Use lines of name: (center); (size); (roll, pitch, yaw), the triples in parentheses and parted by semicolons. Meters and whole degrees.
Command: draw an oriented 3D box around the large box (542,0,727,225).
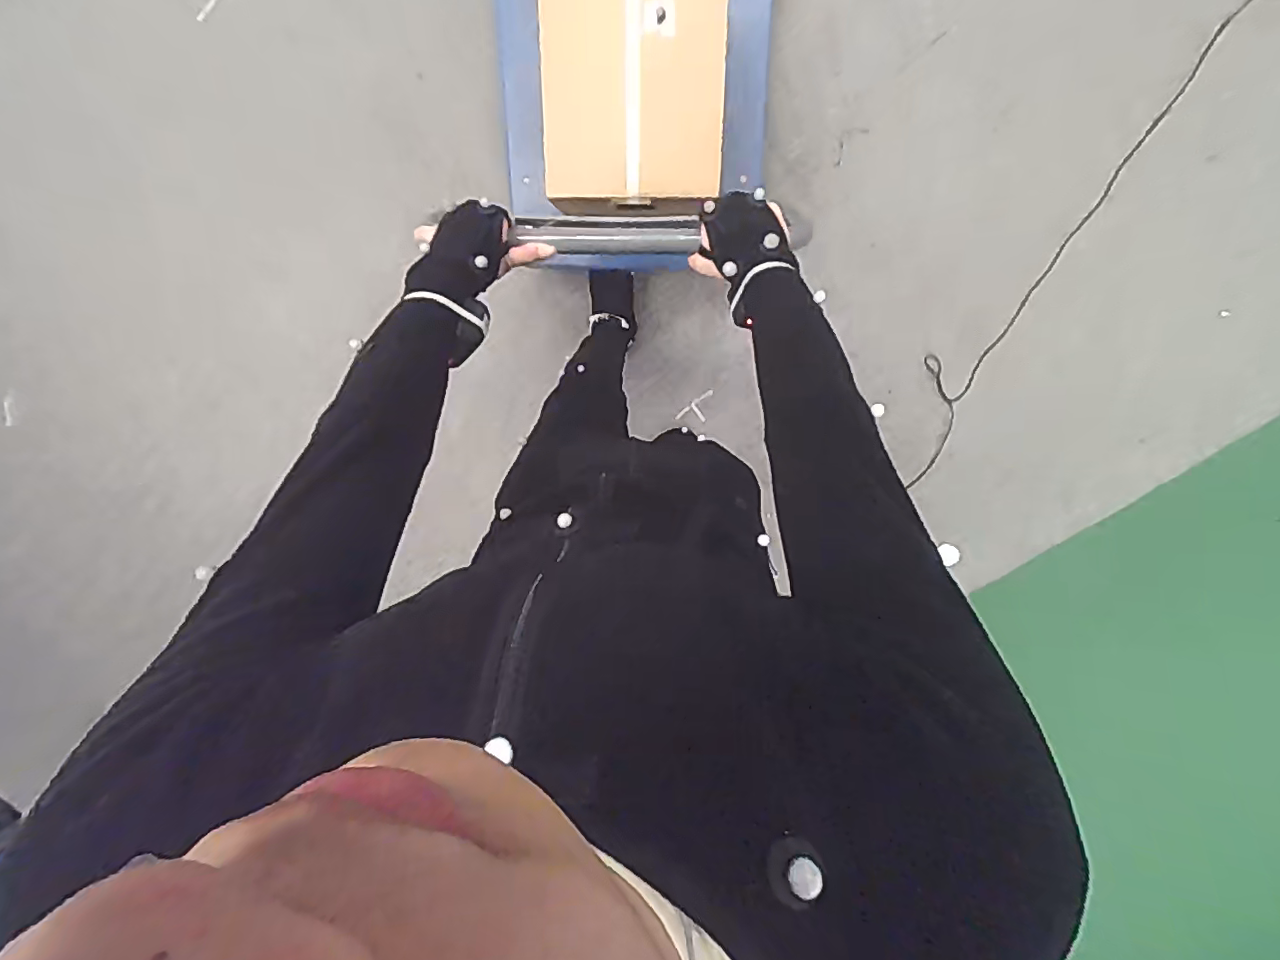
large box: (-0.003, -0.747, 1.070); (0.320, 0.320, 0.408); (1, 107, 2)
